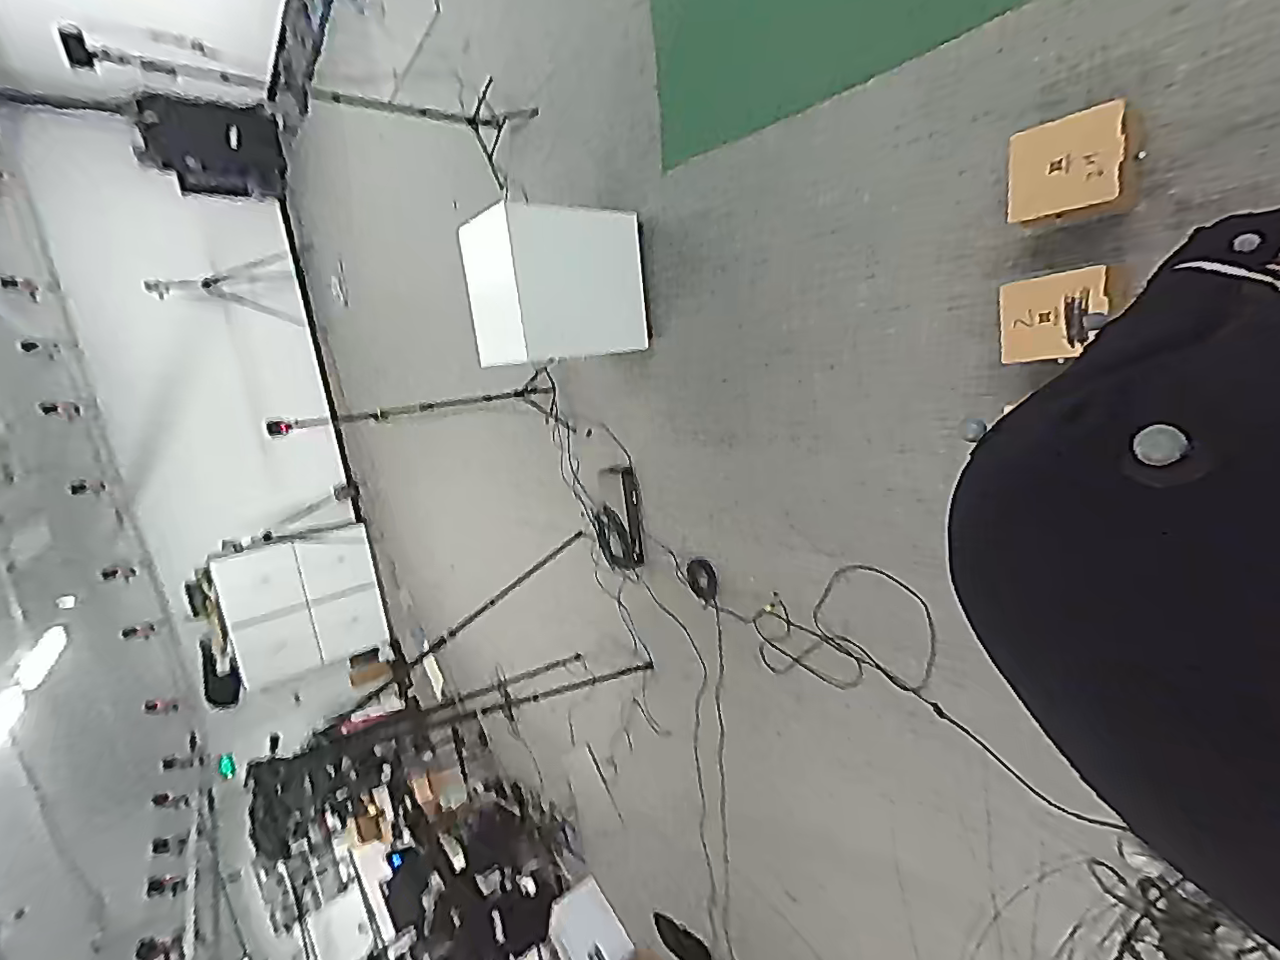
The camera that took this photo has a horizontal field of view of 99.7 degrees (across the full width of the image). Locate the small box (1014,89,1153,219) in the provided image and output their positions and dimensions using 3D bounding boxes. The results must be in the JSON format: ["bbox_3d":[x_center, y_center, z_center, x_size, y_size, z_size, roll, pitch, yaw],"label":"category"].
[{"bbox_3d":[0.872,-0.626,1.068,0.179,0.176,0.168,9,110,50],"label":"small box"}]
